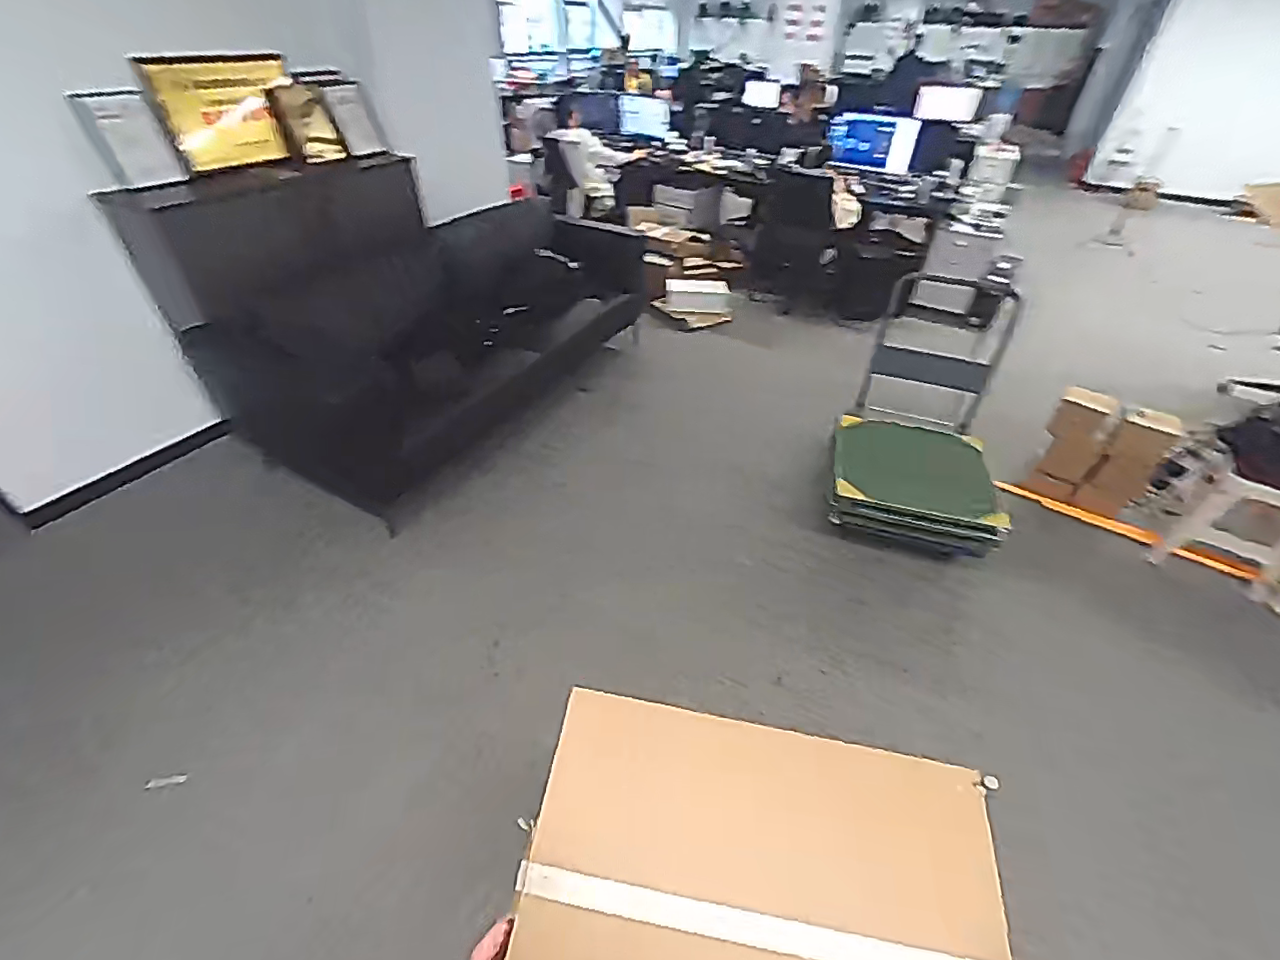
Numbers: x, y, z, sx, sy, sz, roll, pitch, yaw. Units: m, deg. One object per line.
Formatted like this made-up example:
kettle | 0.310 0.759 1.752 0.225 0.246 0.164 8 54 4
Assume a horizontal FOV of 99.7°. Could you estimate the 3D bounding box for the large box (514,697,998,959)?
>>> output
large box | 0.091 0.457 0.575 0.408 0.320 0.320 10 55 2
